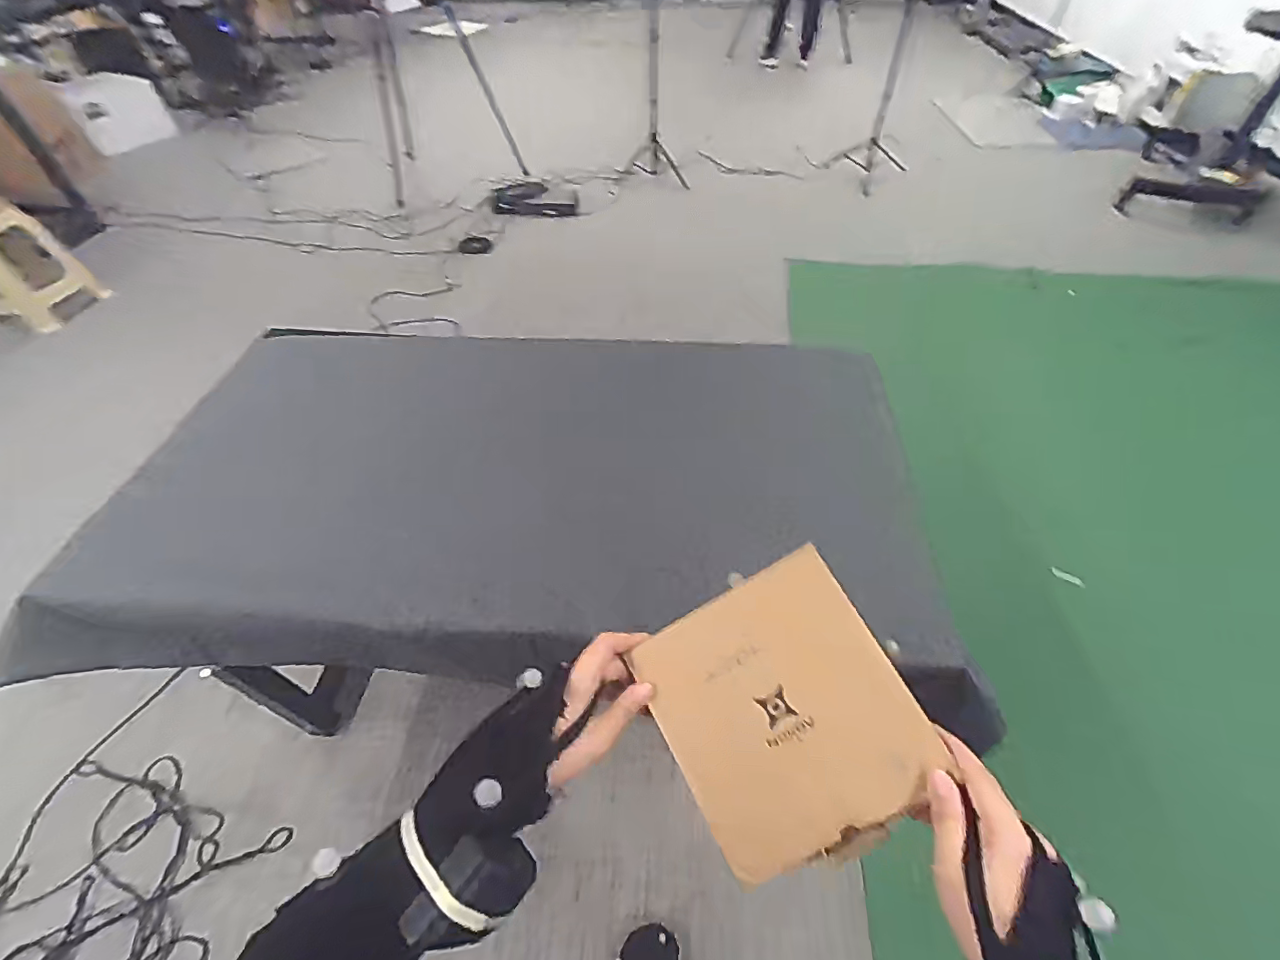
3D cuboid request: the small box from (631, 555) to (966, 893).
[{"bbox_3d":[0.121,0.180,0.452,0.168,0.176,0.179,-33,72,6],"label":"small box"}]
